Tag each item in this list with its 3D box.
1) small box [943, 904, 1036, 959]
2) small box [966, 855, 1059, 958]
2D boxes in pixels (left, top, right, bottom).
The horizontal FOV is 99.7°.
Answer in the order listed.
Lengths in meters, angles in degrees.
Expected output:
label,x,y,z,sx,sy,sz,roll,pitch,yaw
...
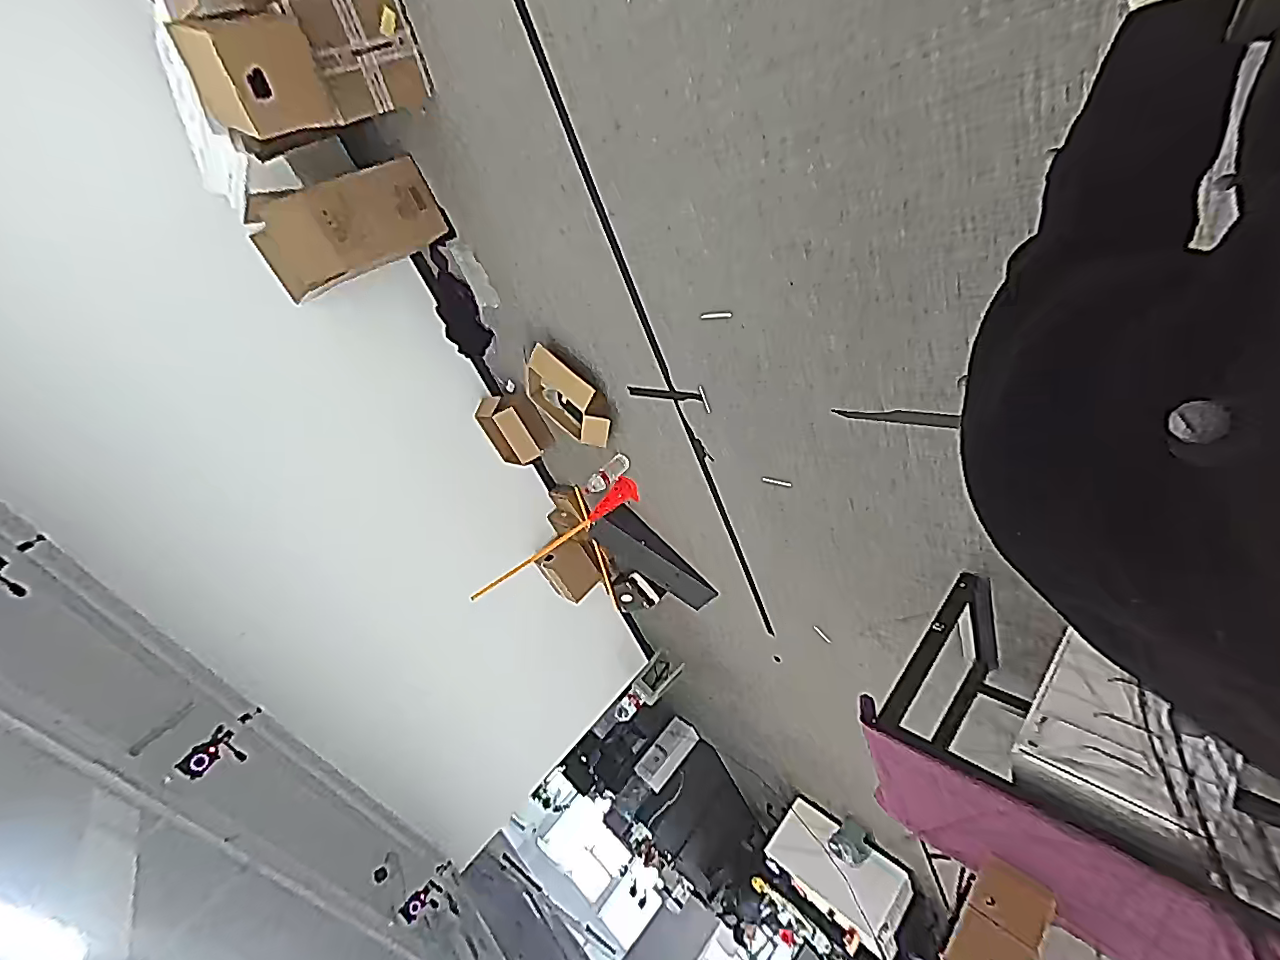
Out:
label,x,y,z,sx,sy,sz,roll,pitch,yaw
small box,0.956,1.323,1.480,0.179,0.176,0.168,19,140,44
small box,1.065,1.224,1.553,0.179,0.176,0.168,18,141,45
